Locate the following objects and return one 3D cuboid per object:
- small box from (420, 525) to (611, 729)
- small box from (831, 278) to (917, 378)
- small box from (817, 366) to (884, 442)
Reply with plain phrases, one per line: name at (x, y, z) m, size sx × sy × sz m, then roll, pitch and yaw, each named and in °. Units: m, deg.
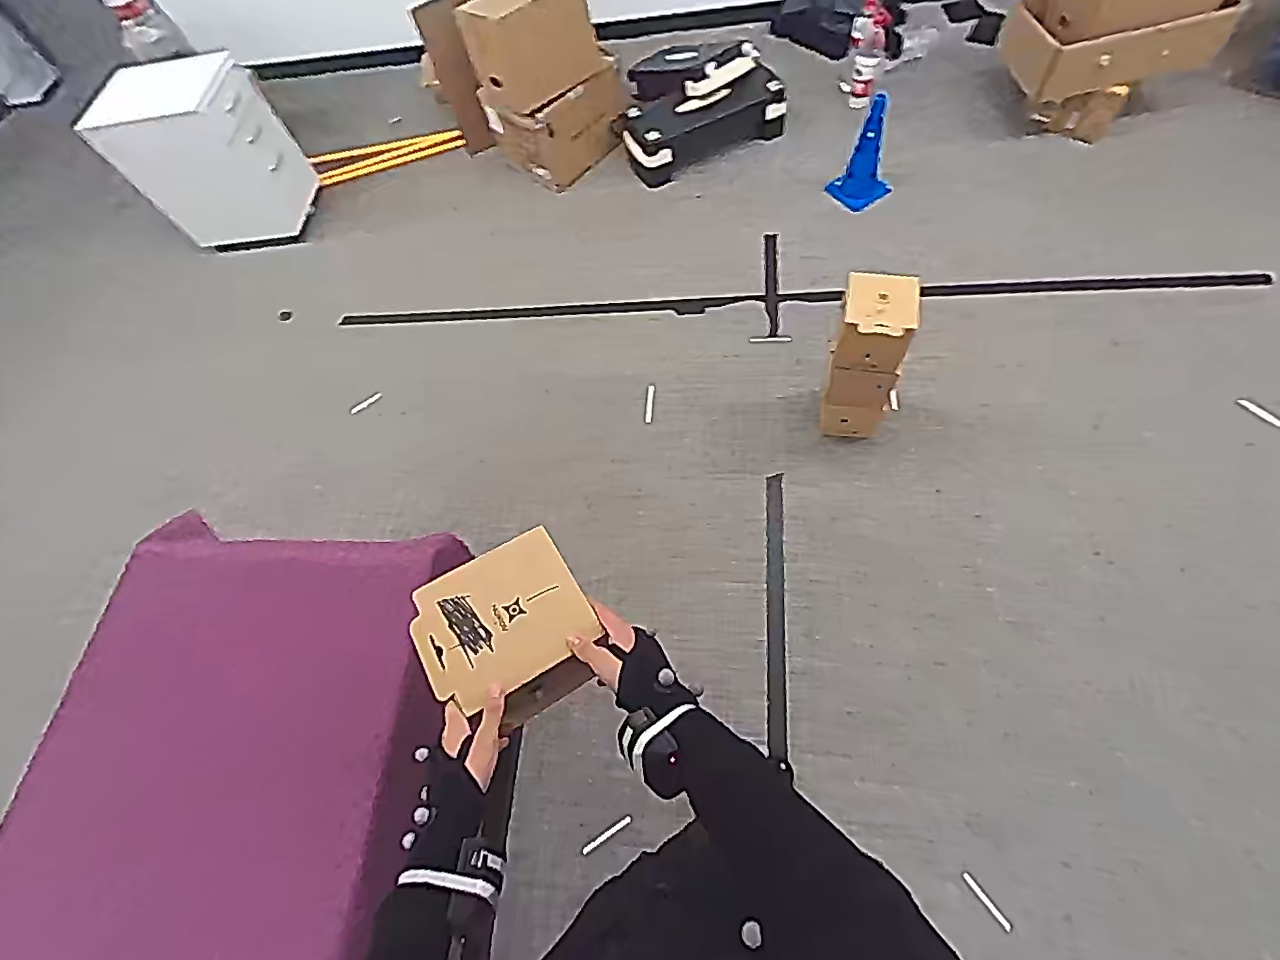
small box at (-0.148, 0.194, 0.695) m, size 0.179 × 0.176 × 0.168 m, roll -27°, pitch 63°, yaw -17°
small box at (0.601, -0.392, 1.401) m, size 0.168 × 0.176 × 0.179 m, roll 10°, pitch 66°, yaw 12°
small box at (0.653, -0.234, 1.687) m, size 0.168 × 0.176 × 0.179 m, roll 5°, pitch 64°, yaw 10°
